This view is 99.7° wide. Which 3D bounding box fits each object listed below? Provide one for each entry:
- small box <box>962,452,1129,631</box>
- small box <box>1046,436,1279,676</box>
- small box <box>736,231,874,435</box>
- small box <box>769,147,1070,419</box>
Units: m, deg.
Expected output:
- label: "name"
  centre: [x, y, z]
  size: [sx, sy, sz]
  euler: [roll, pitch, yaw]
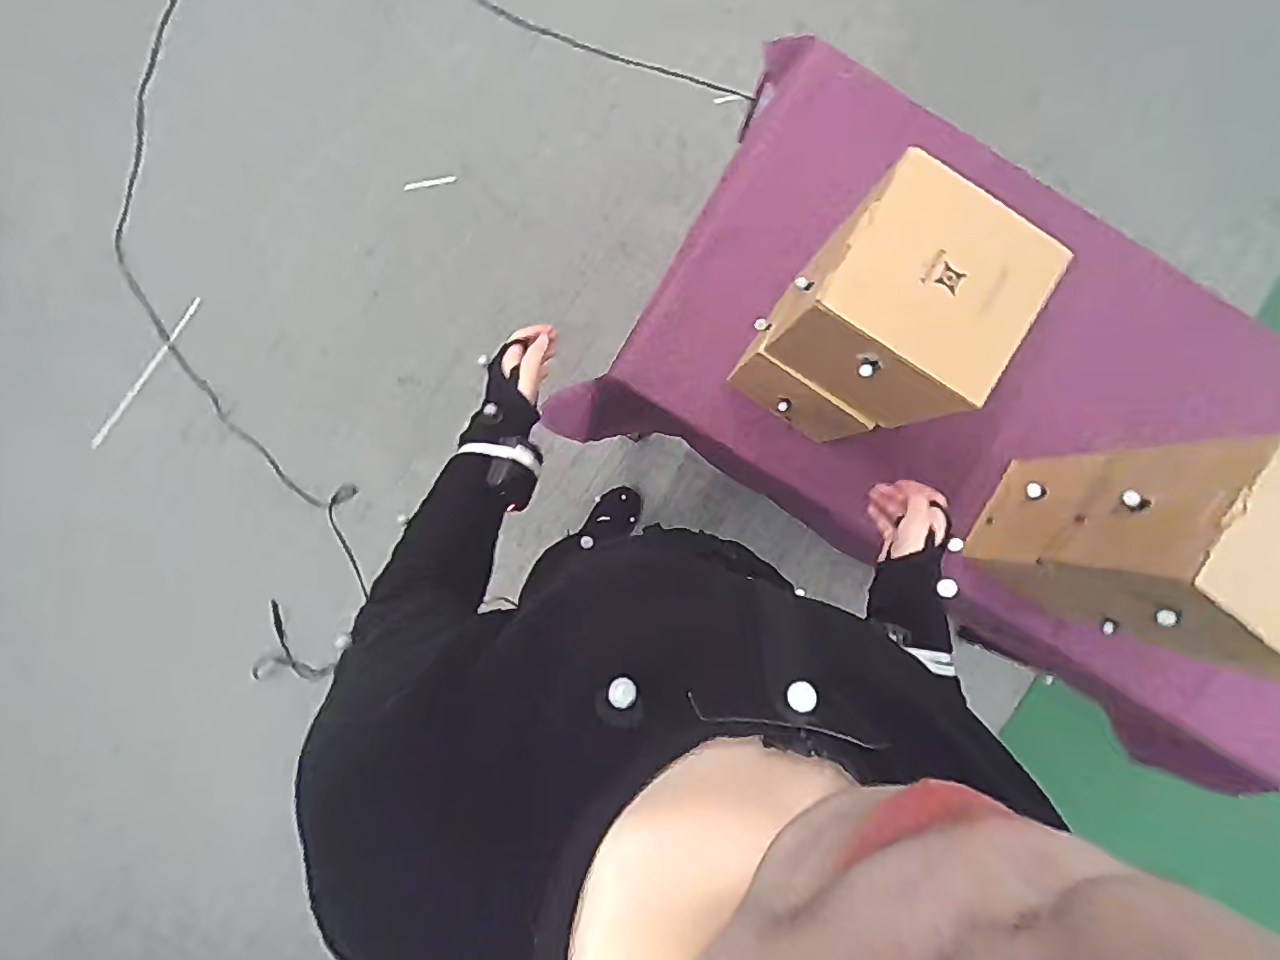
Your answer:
- label: "small box"
  centre: [0.586, 0.083, 0.727]
  size: [0.179, 0.176, 0.168]
  euler: [33, 87, -3]
- label: "small box"
  centre: [0.587, 0.078, 0.562]
  size: [0.179, 0.176, 0.168]
  euler: [38, 87, -2]
- label: "small box"
  centre: [0.245, -0.175, 0.711]
  size: [0.168, 0.176, 0.179]
  euler: [35, 87, -3]
- label: "small box"
  centre: [0.259, -0.176, 0.548]
  size: [0.179, 0.176, 0.168]
  euler: [33, 88, -3]
